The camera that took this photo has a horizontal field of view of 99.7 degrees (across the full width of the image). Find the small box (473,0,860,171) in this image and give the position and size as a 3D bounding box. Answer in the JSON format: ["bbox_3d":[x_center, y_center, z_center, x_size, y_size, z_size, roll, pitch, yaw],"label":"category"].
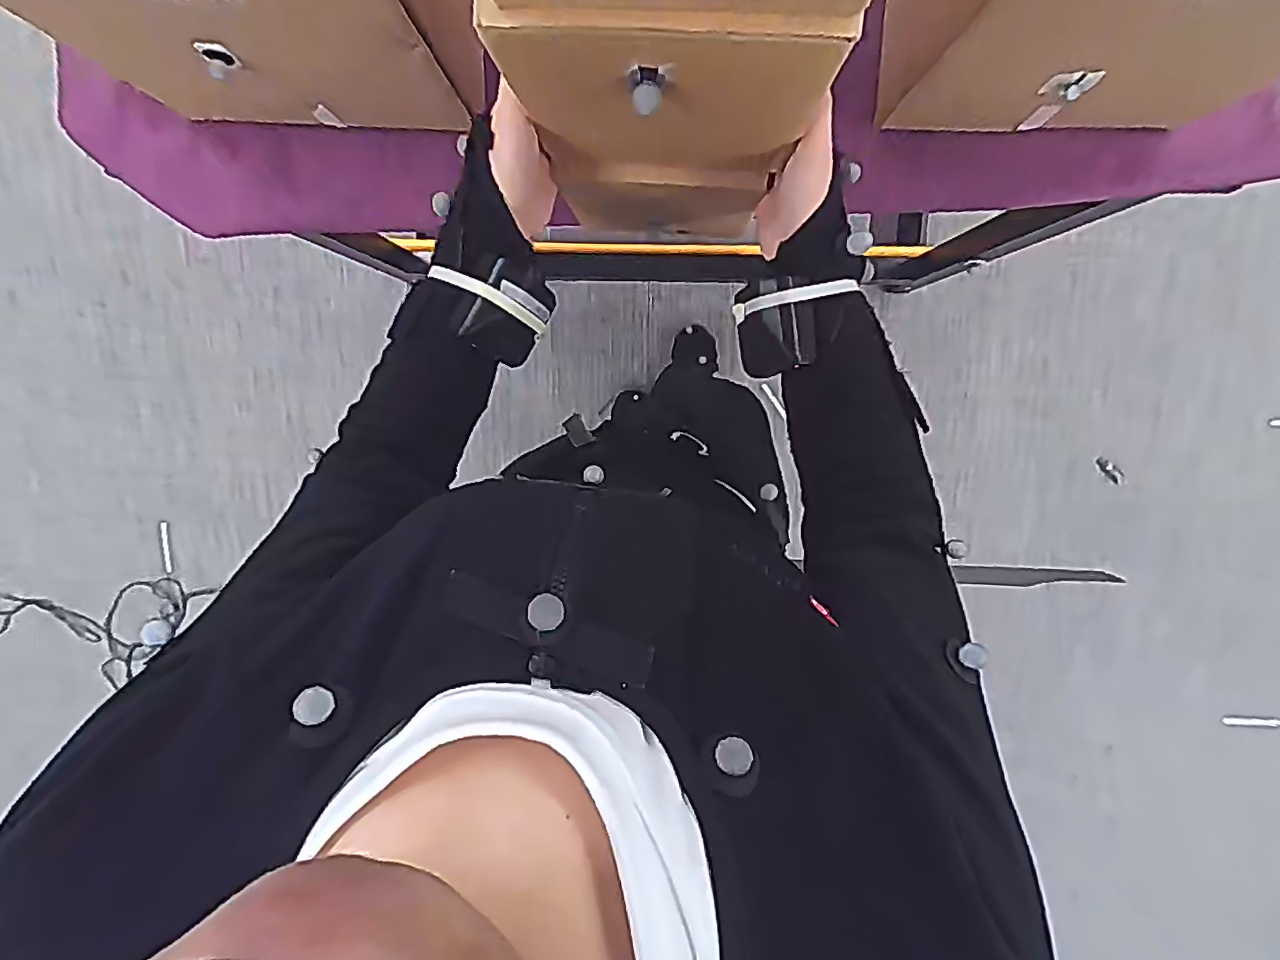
[{"bbox_3d":[0.020,-0.293,0.305,0.179,0.176,0.168,5,102,4],"label":"small box"}]
